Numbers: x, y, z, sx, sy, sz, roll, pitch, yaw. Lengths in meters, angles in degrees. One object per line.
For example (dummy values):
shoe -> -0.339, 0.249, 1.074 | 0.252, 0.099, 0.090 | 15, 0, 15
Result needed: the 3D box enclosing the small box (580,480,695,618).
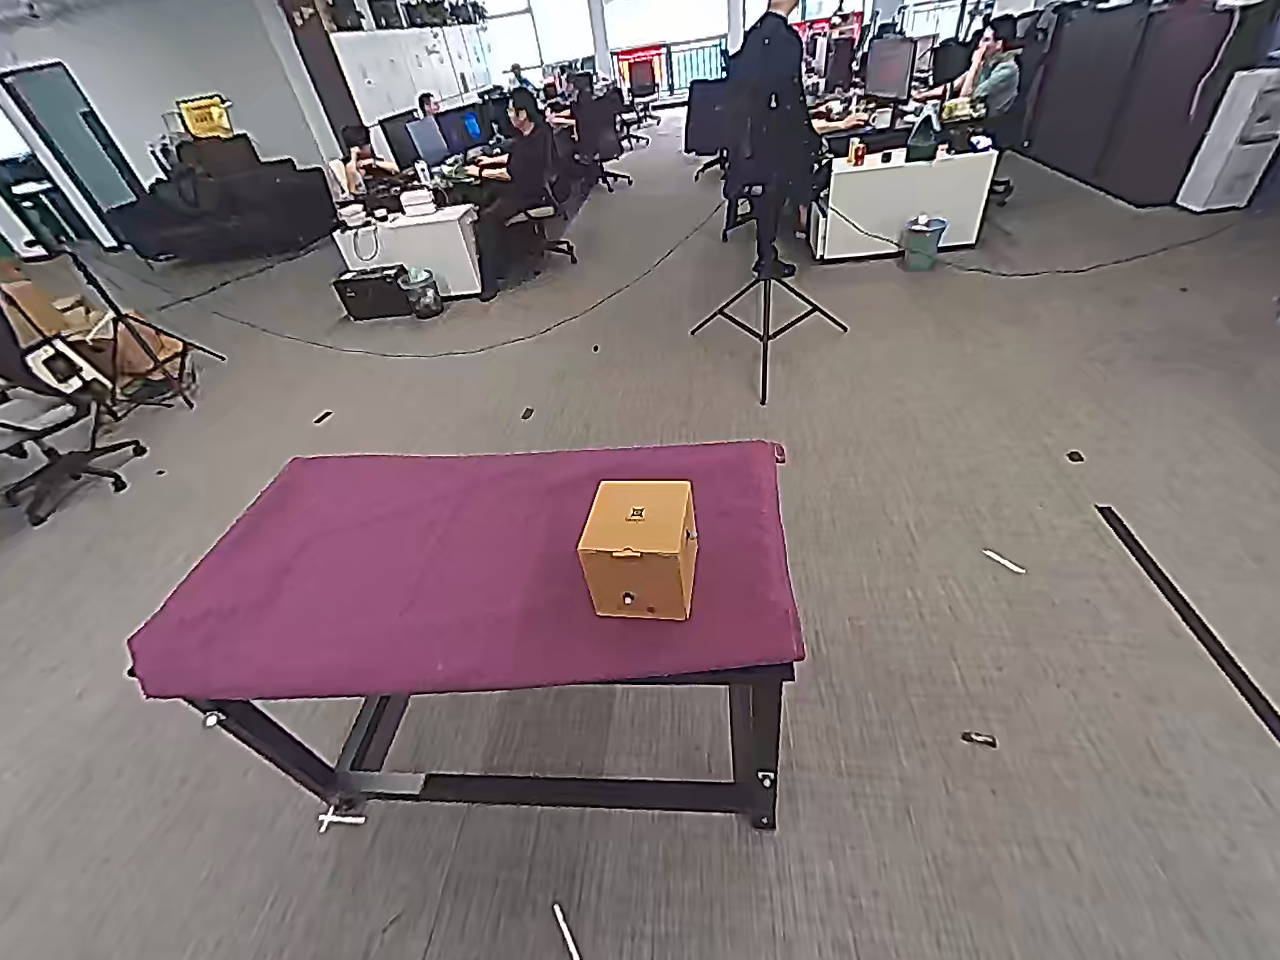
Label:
small box -> 0.006, 0.119, 0.956 | 0.168, 0.176, 0.179 | 0, 40, 12
